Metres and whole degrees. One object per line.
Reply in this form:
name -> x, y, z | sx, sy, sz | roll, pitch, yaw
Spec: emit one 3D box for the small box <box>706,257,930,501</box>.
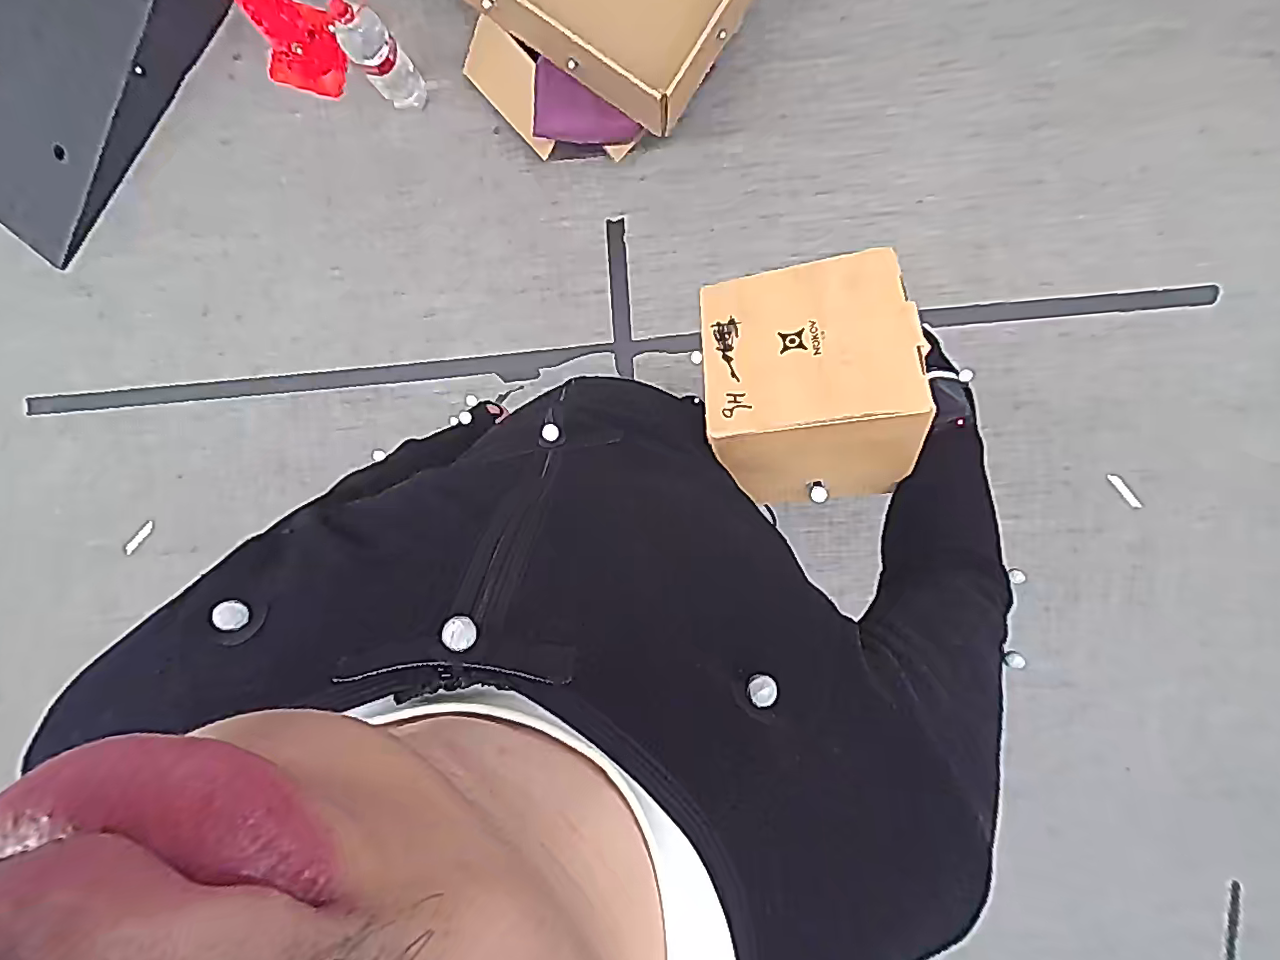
small box -> 0.168, -0.088, 0.547 | 0.179, 0.176, 0.168 | -6, 64, 15
